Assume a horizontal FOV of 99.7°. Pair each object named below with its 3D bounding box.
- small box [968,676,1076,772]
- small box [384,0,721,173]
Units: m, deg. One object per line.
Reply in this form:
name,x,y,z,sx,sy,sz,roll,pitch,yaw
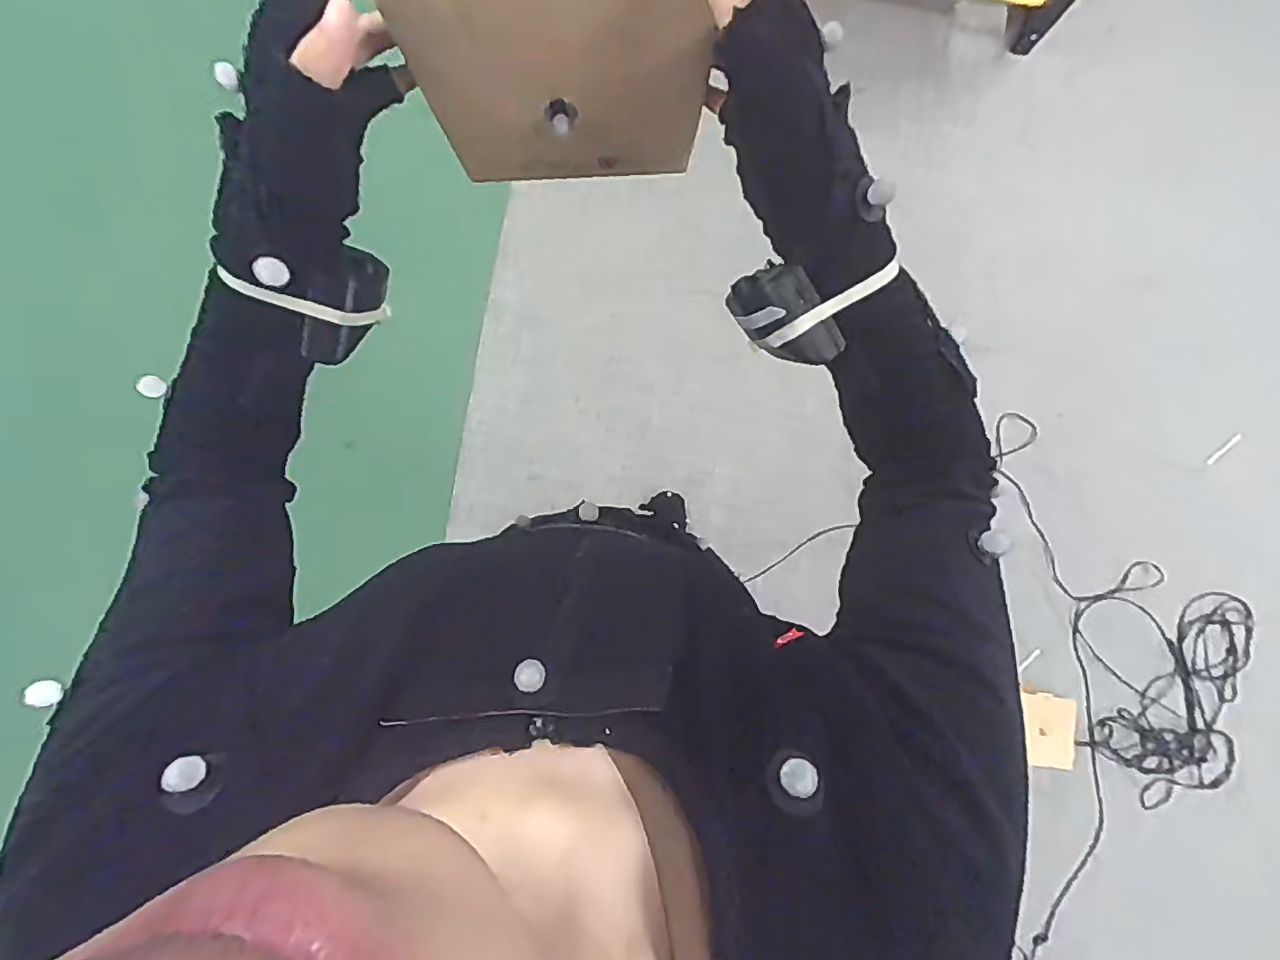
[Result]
small box,0.998,0.636,1.424,0.168,0.176,0.179,8,84,-3
small box,-0.044,-0.310,0.326,0.168,0.176,0.179,-3,91,-2
